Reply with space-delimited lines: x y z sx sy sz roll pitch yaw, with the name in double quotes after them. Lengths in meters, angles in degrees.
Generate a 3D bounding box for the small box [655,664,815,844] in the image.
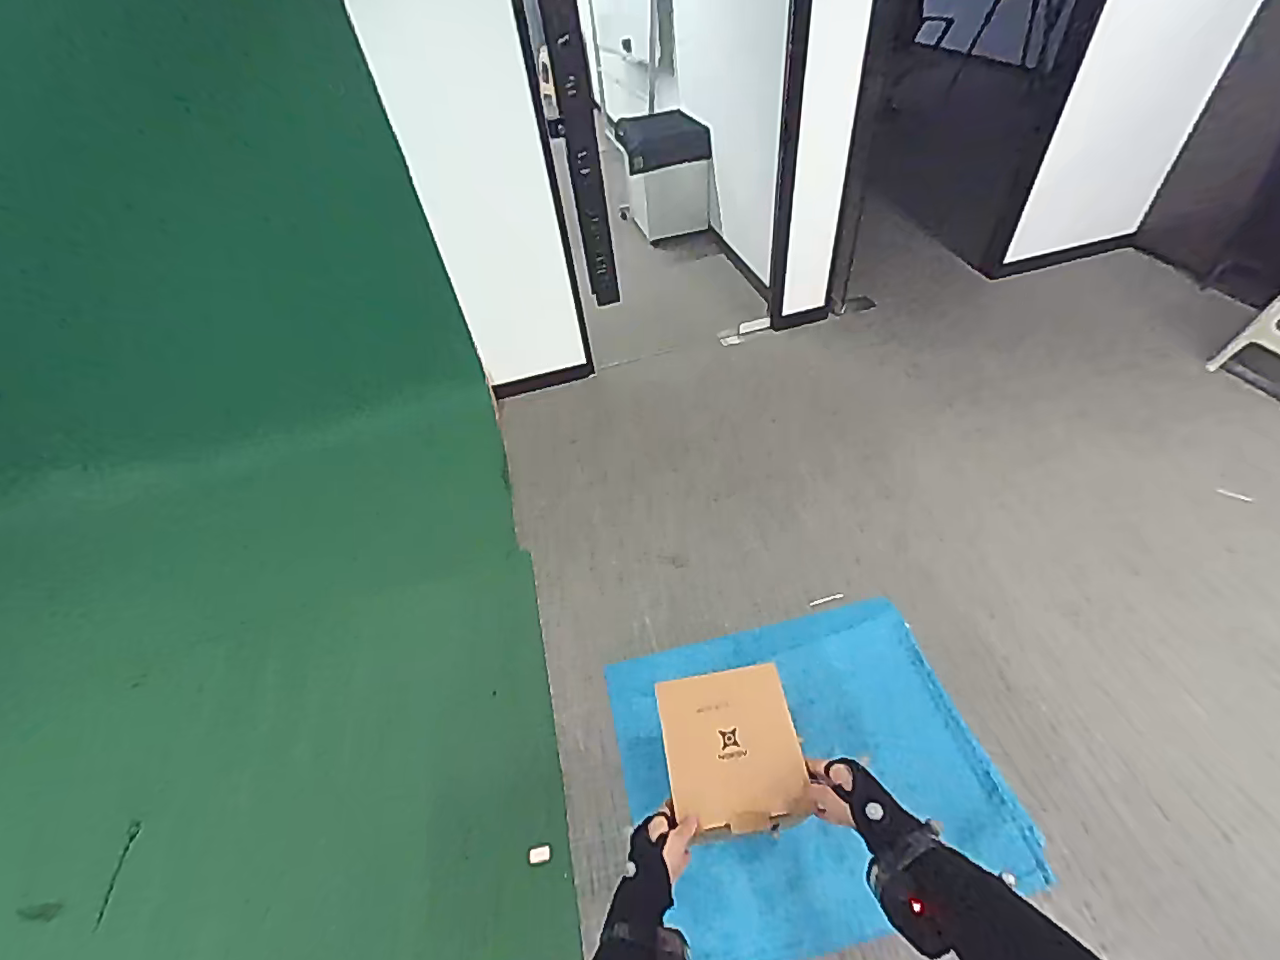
0.117 0.371 0.723 0.168 0.176 0.179 -9 51 -1 "small box"
